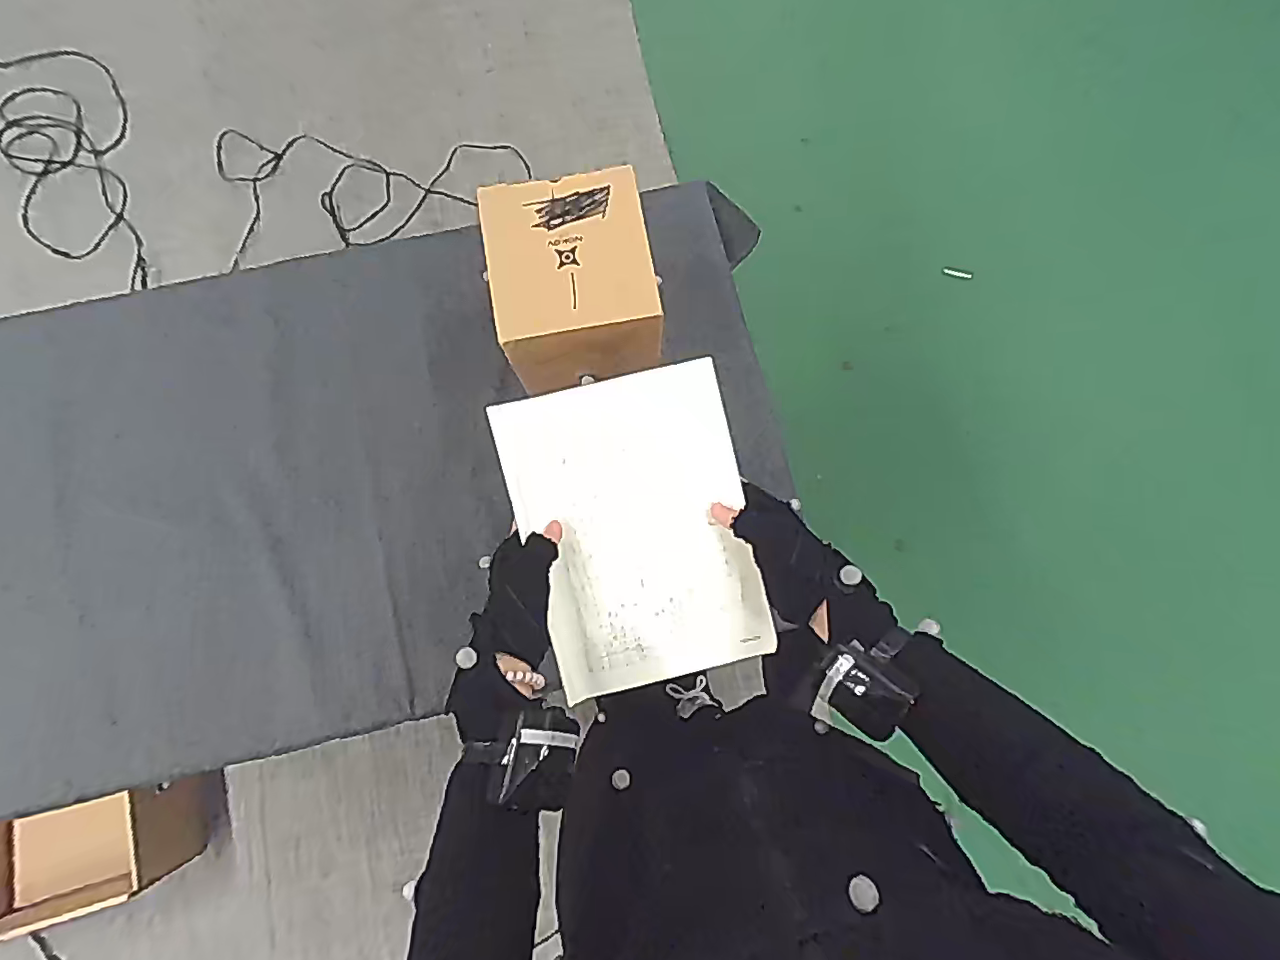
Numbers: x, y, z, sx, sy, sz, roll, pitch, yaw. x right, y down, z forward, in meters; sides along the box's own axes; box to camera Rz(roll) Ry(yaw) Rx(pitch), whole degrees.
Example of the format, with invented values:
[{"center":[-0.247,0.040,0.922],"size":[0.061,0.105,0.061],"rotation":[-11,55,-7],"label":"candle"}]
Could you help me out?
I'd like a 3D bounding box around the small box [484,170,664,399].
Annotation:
[{"center":[-0.070,-0.213,0.624],"size":[0.168,0.176,0.179],"rotation":[-10,79,-1],"label":"small box"}]
